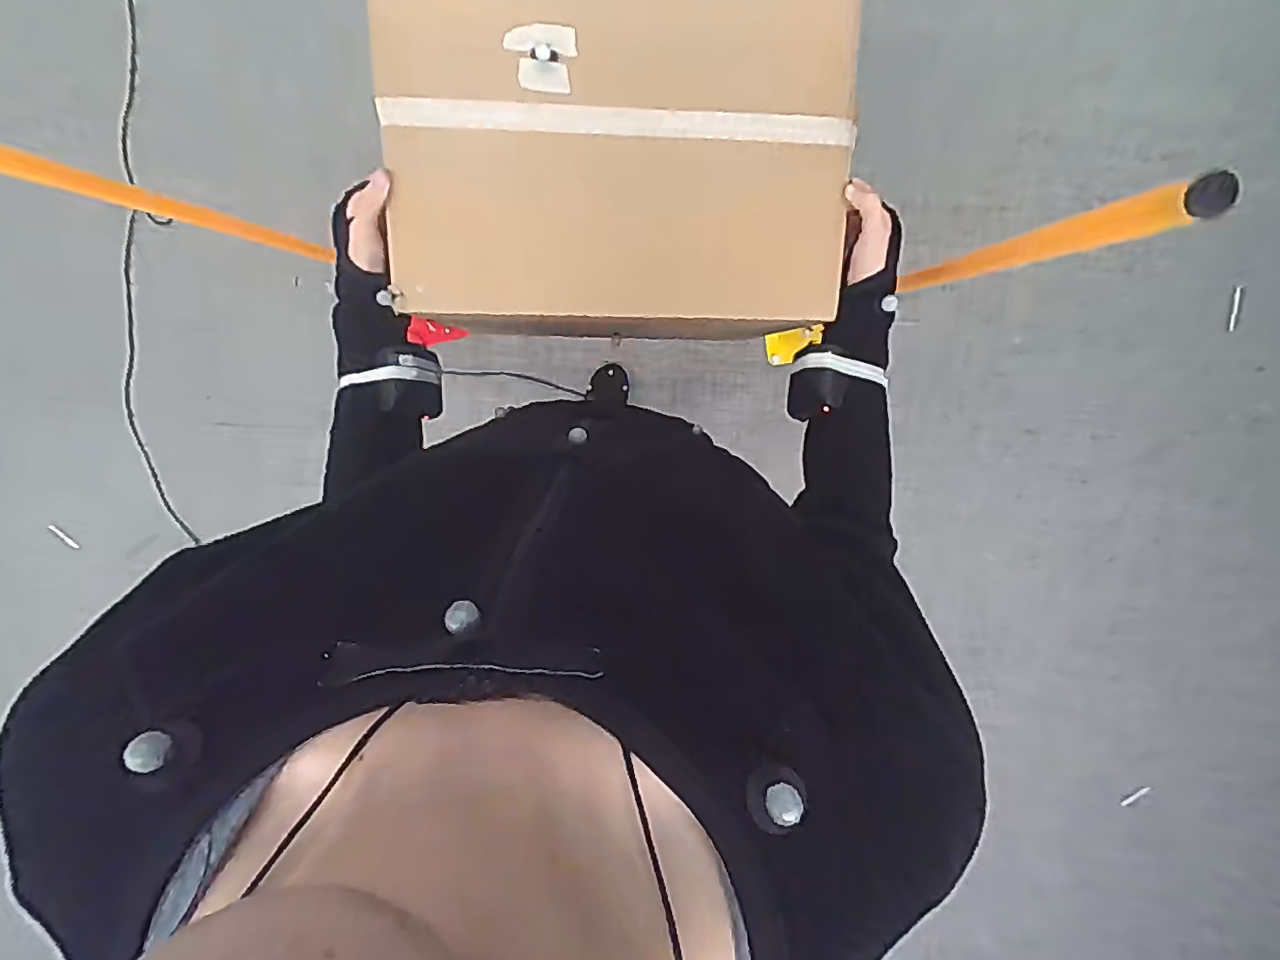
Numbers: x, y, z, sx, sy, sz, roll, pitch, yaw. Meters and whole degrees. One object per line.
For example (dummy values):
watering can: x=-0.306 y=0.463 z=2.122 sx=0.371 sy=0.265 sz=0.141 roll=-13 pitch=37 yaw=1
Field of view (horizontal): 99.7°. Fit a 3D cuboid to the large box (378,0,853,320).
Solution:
large box: x=-0.024 y=-0.347 z=0.613 sx=0.408 sy=0.320 sz=0.320 roll=0 pitch=102 yaw=-4
